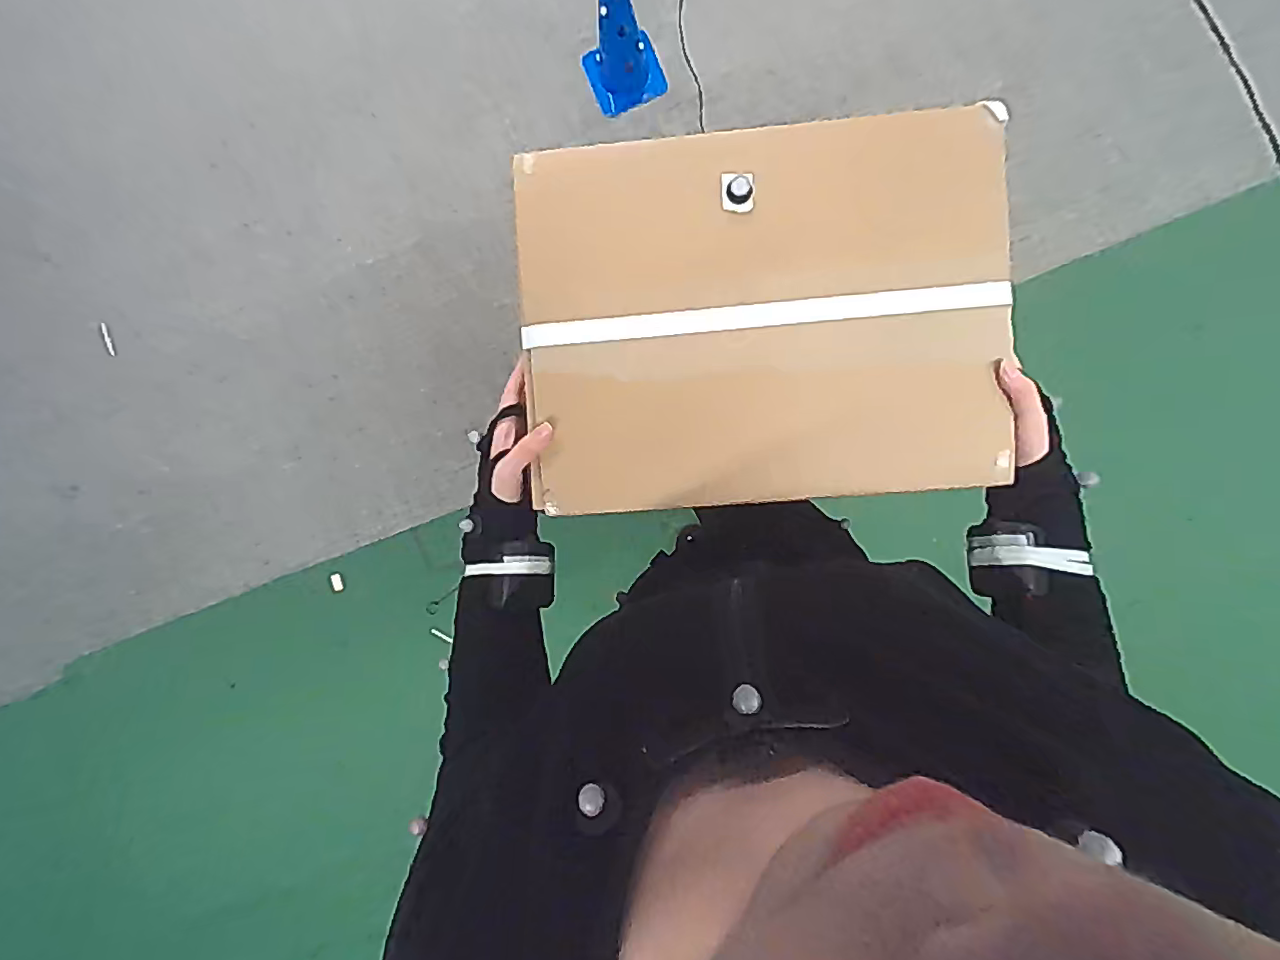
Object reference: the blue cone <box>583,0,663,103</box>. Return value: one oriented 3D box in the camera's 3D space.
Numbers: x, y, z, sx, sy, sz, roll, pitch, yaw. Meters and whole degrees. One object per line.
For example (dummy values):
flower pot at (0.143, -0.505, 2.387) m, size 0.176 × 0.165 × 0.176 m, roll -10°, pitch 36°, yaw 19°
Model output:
blue cone at (-0.063, -1.159, 1.339) m, size 0.193 × 0.380 × 0.192 m, roll -25°, pitch 87°, yaw 5°
